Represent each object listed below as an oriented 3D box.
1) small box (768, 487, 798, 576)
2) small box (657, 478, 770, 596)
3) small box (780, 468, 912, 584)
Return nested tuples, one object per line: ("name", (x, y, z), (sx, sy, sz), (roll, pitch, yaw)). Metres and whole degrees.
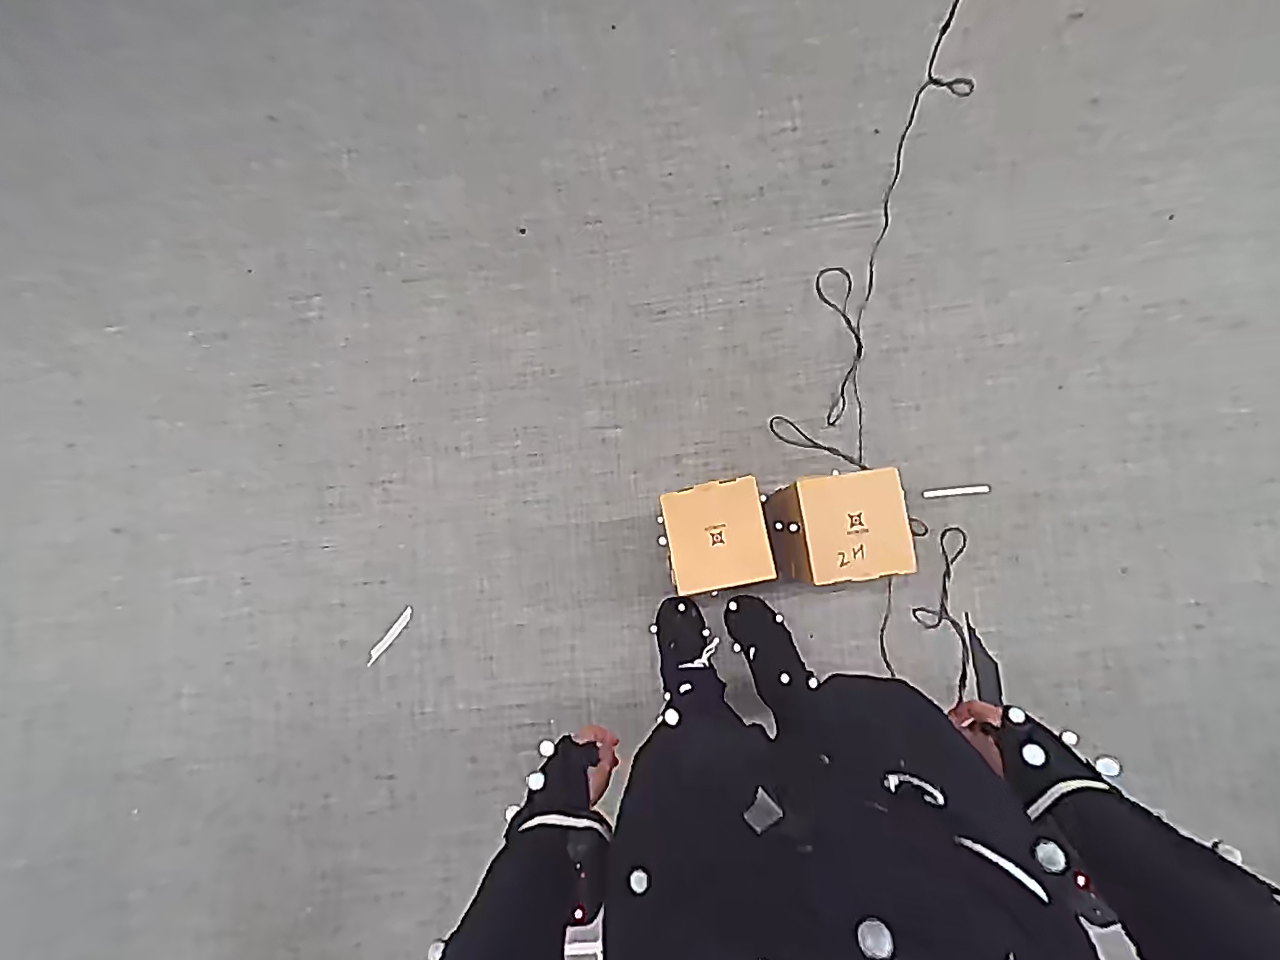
("small box", (0.367, 0.101, 1.123), (0.168, 0.176, 0.179), (-7, 84, 5))
("small box", (0.131, 0.103, 0.982), (0.168, 0.176, 0.179), (-12, 82, 4))
("small box", (0.353, 0.084, 0.960), (0.168, 0.176, 0.179), (-8, 84, 5))
